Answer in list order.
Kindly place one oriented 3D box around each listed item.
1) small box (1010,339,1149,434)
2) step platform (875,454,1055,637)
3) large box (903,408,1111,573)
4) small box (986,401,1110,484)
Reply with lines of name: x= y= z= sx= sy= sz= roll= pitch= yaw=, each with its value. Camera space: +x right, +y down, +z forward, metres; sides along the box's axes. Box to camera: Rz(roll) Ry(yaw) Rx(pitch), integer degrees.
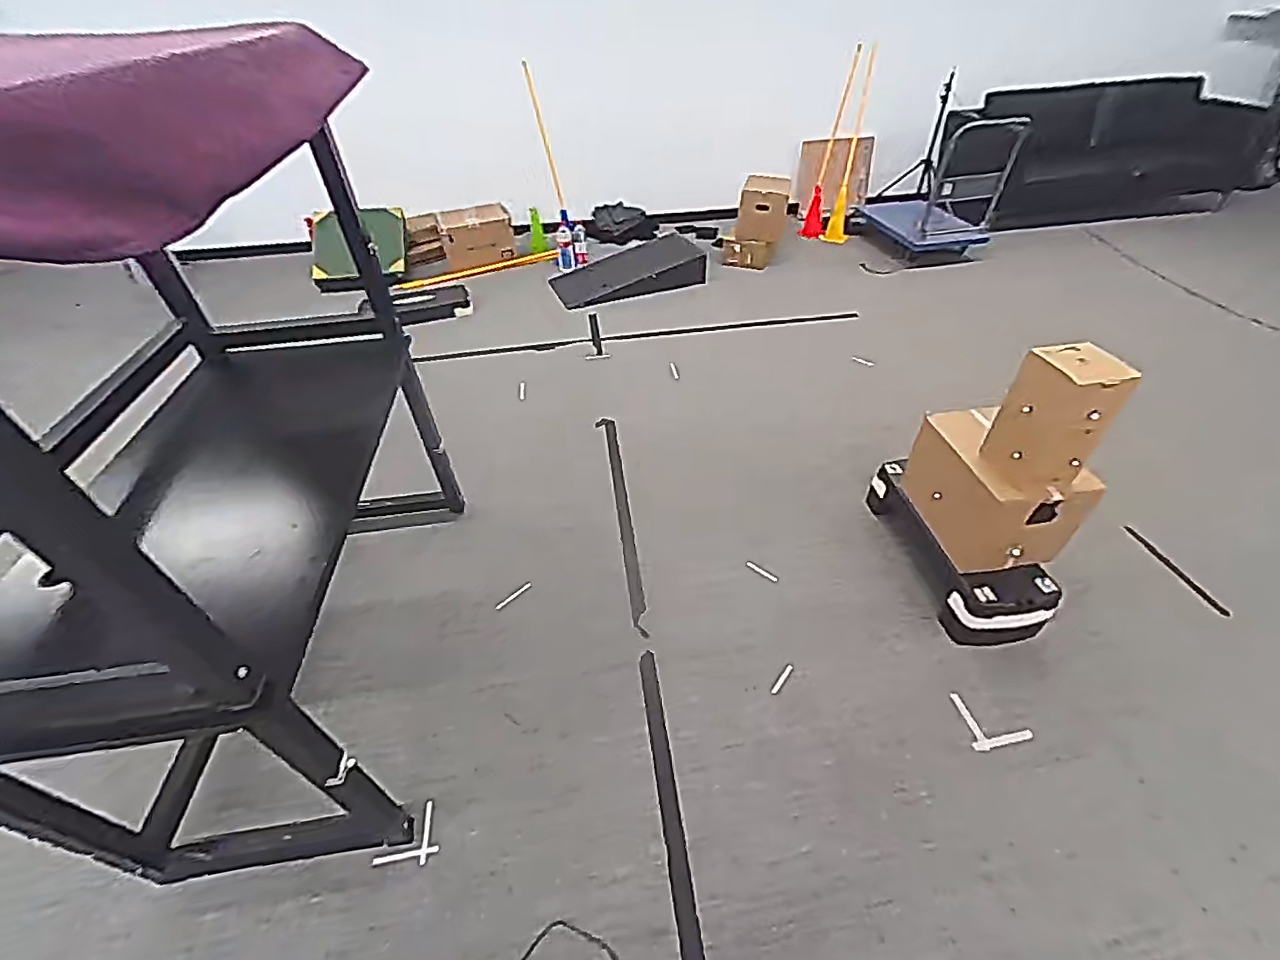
small box: x=1.073 y=-0.226 z=1.340 sx=0.168 sy=0.176 sz=0.179 roll=-7 pitch=43 yaw=-5
step platform: x=1.068 y=0.185 z=1.849 sx=0.286 sy=0.204 sz=0.684 roll=-3 pitch=41 yaw=0
large box: x=1.089 y=0.025 z=1.670 sx=0.320 sy=0.320 sz=0.408 roll=-6 pitch=41 yaw=-5
small box: x=1.079 y=-0.102 z=1.447 sx=0.168 sy=0.176 sz=0.179 roll=-6 pitch=42 yaw=-4
